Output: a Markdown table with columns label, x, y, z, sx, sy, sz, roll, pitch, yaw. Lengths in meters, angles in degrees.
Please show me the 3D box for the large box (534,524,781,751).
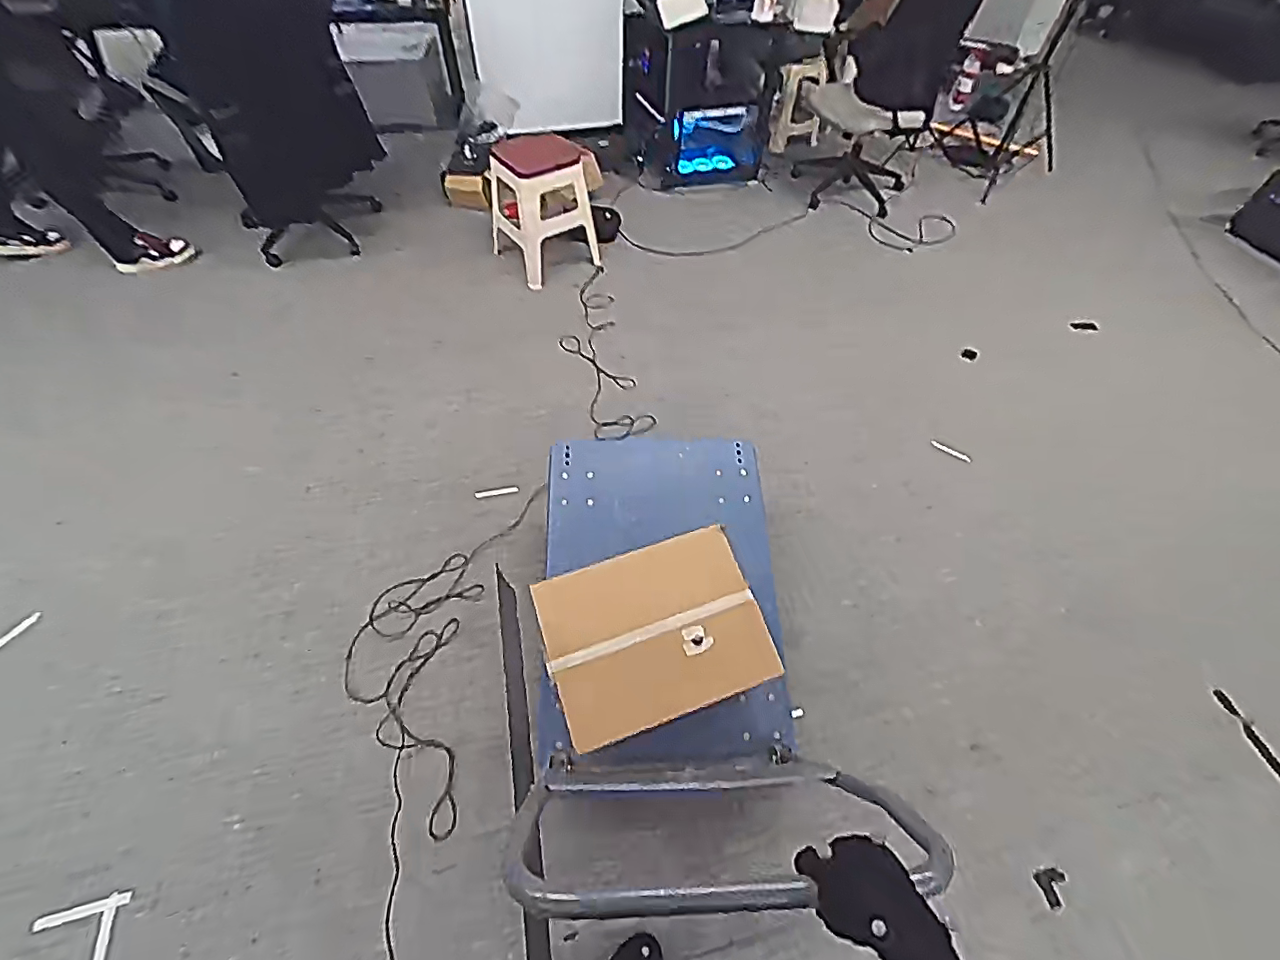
| label | x | y | z | sx | sy | sz | roll | pitch | yaw |
| --- | --- | --- | --- | --- | --- | --- | --- | --- | --- |
| large box | 0.021 | 0.343 | 1.160 | 0.408 | 0.320 | 0.320 | -17 | 68 | -11 |
